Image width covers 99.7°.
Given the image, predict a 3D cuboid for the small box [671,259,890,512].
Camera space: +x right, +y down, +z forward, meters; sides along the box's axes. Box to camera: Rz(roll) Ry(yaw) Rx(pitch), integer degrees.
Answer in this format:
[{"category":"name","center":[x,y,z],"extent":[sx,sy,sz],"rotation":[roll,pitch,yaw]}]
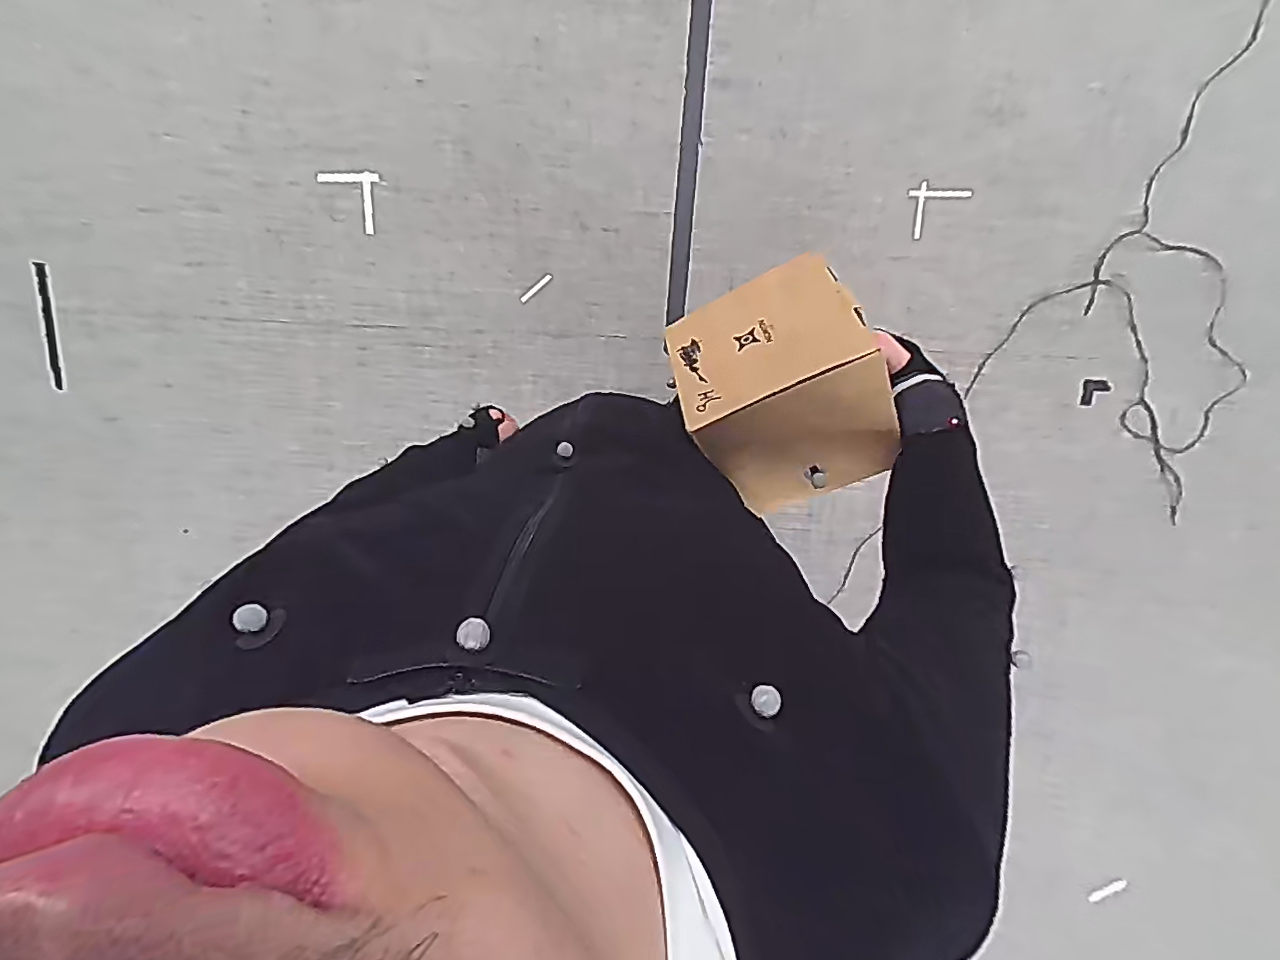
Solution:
[{"category":"small box","center":[0.155,-0.094,0.588],"extent":[0.179,0.168,0.176],"rotation":[-23,137,17]}]
